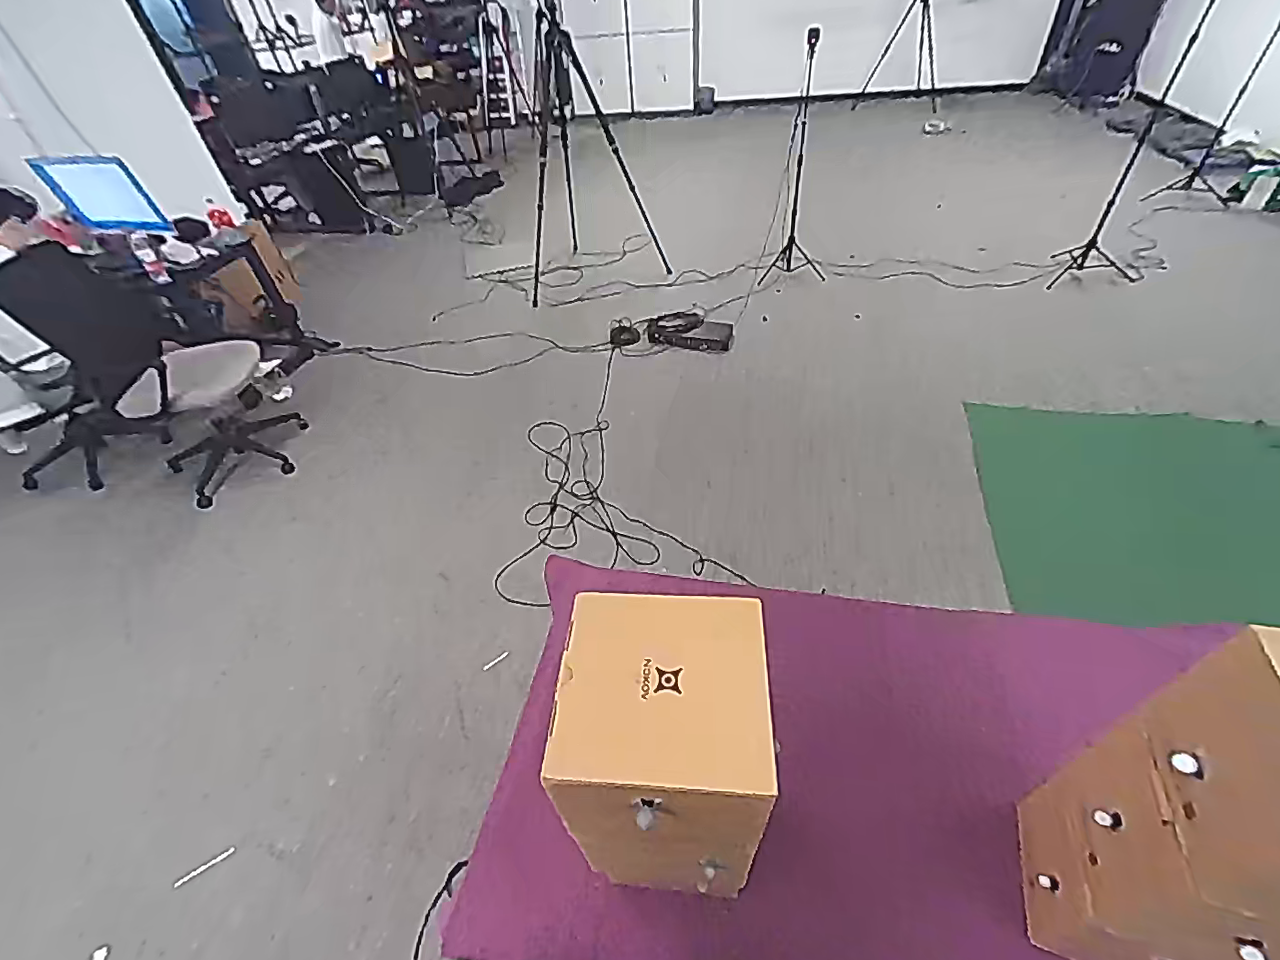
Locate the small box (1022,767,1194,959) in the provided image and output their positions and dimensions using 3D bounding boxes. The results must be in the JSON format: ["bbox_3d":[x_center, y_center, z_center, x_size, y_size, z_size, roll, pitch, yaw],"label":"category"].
[{"bbox_3d":[0.585,0.485,0.646,0.179,0.176,0.168,13,47,19],"label":"small box"}]

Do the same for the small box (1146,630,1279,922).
[{"bbox_3d":[0.562,0.248,0.419,0.179,0.176,0.168,9,46,17],"label":"small box"}]

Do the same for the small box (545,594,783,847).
[{"bbox_3d":[0.027,0.224,0.502,0.179,0.176,0.168,0,45,6],"label":"small box"}]

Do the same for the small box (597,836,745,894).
[{"bbox_3d":[0.049,0.447,0.742,0.179,0.176,0.168,2,45,8],"label":"small box"}]

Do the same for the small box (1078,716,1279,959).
[{"bbox_3d":[0.572,0.368,0.532,0.179,0.176,0.168,10,47,18],"label":"small box"}]
